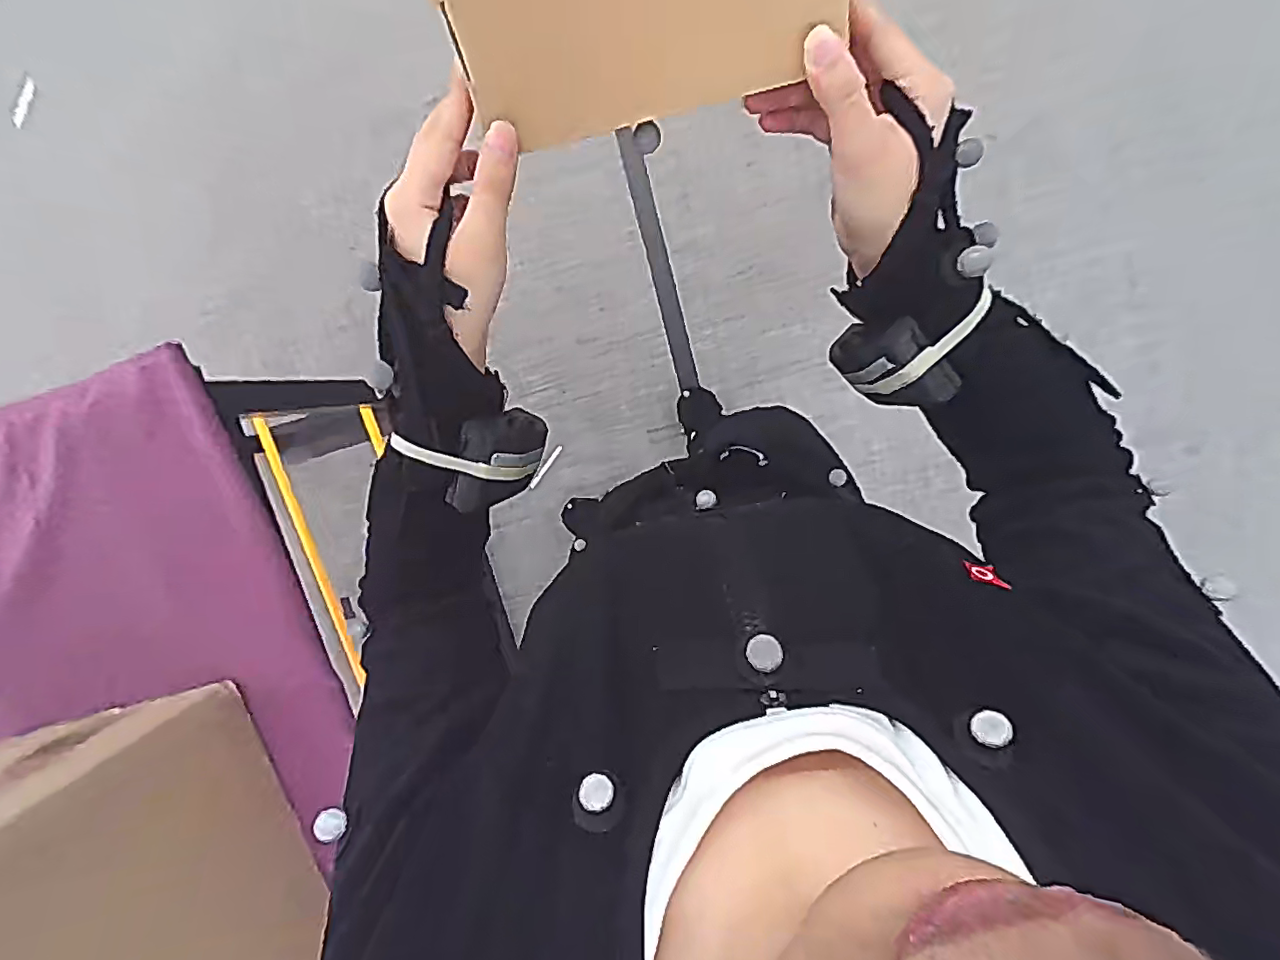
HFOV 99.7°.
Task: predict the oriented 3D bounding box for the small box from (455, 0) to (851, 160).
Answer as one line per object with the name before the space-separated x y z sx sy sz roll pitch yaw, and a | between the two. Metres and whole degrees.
small box | -0.003 -0.288 0.280 0.179 0.176 0.168 -10 127 5
